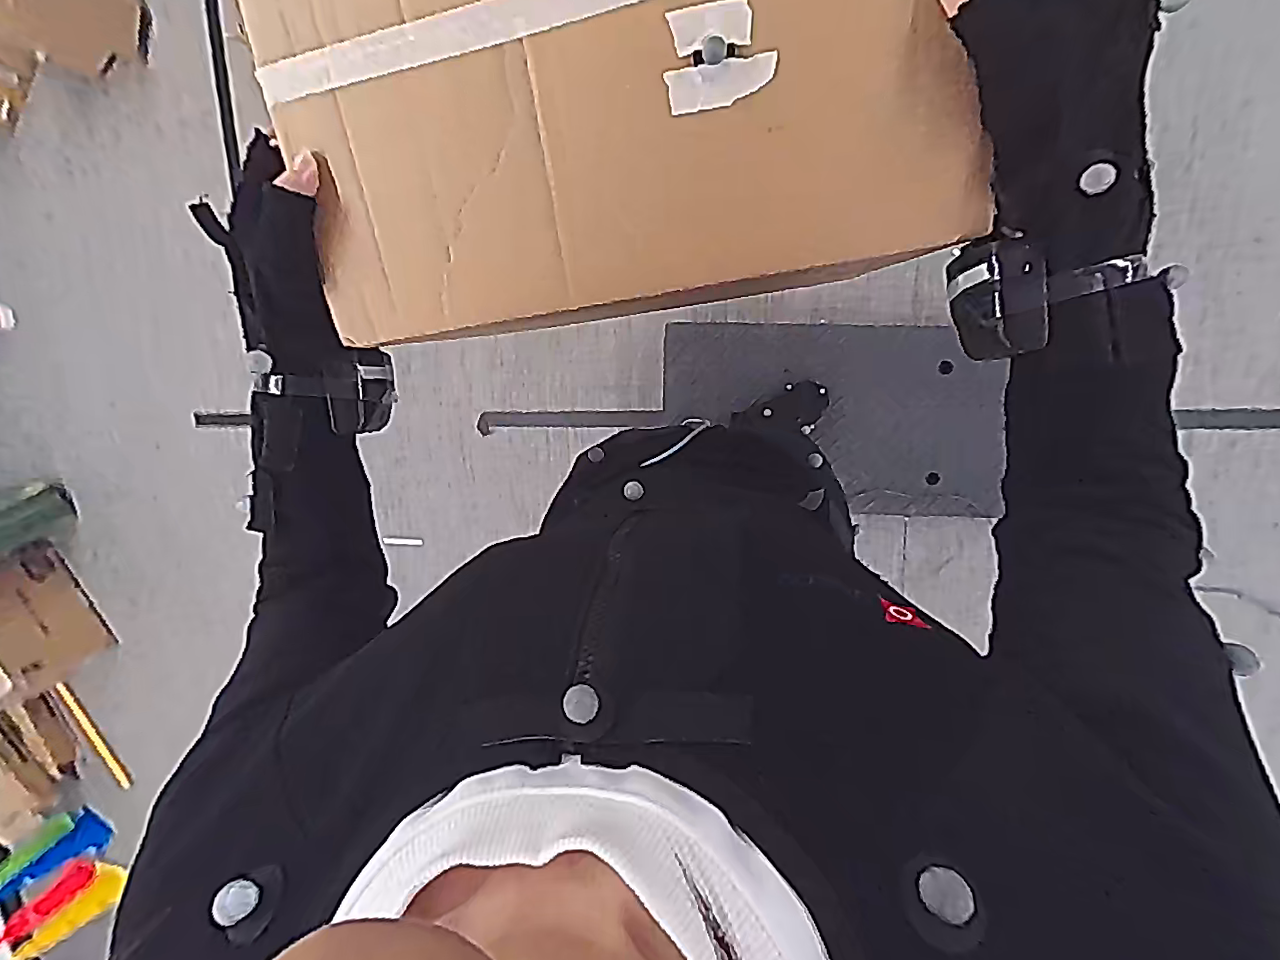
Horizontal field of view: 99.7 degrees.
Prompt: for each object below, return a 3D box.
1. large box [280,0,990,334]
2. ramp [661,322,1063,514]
[{"bbox_3d":[0.001,-0.312,0.445,0.408,0.320,0.320,-6,106,10],"label":"large box"},{"bbox_3d":[0.554,-0.157,1.401,0.991,0.206,0.509,1,99,12],"label":"ramp"}]
